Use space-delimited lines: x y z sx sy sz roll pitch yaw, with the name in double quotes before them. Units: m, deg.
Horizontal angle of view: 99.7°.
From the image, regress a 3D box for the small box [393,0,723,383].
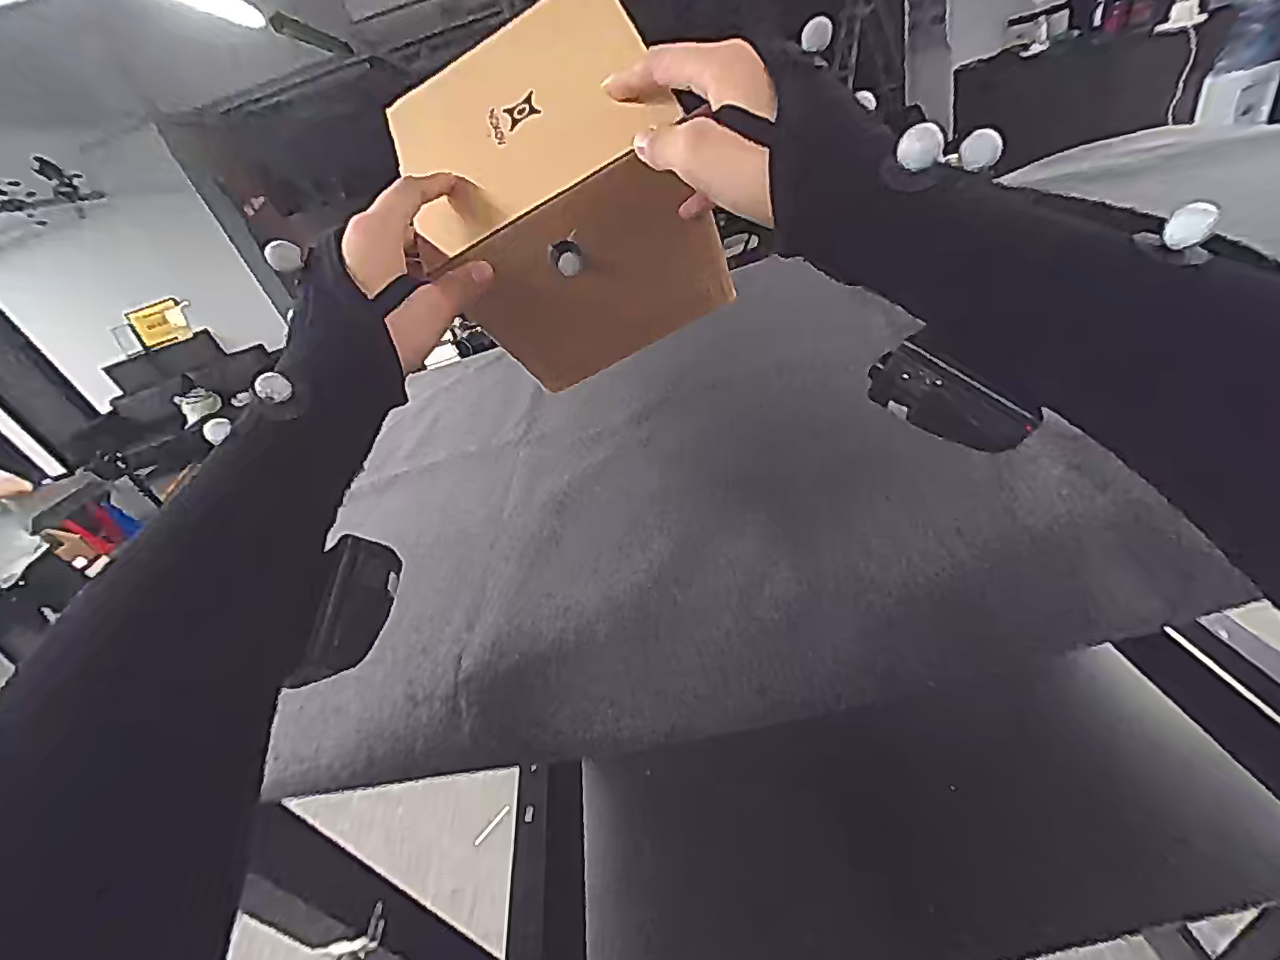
"small box" -0.048 -0.205 0.410 0.179 0.176 0.168 -25 67 12
